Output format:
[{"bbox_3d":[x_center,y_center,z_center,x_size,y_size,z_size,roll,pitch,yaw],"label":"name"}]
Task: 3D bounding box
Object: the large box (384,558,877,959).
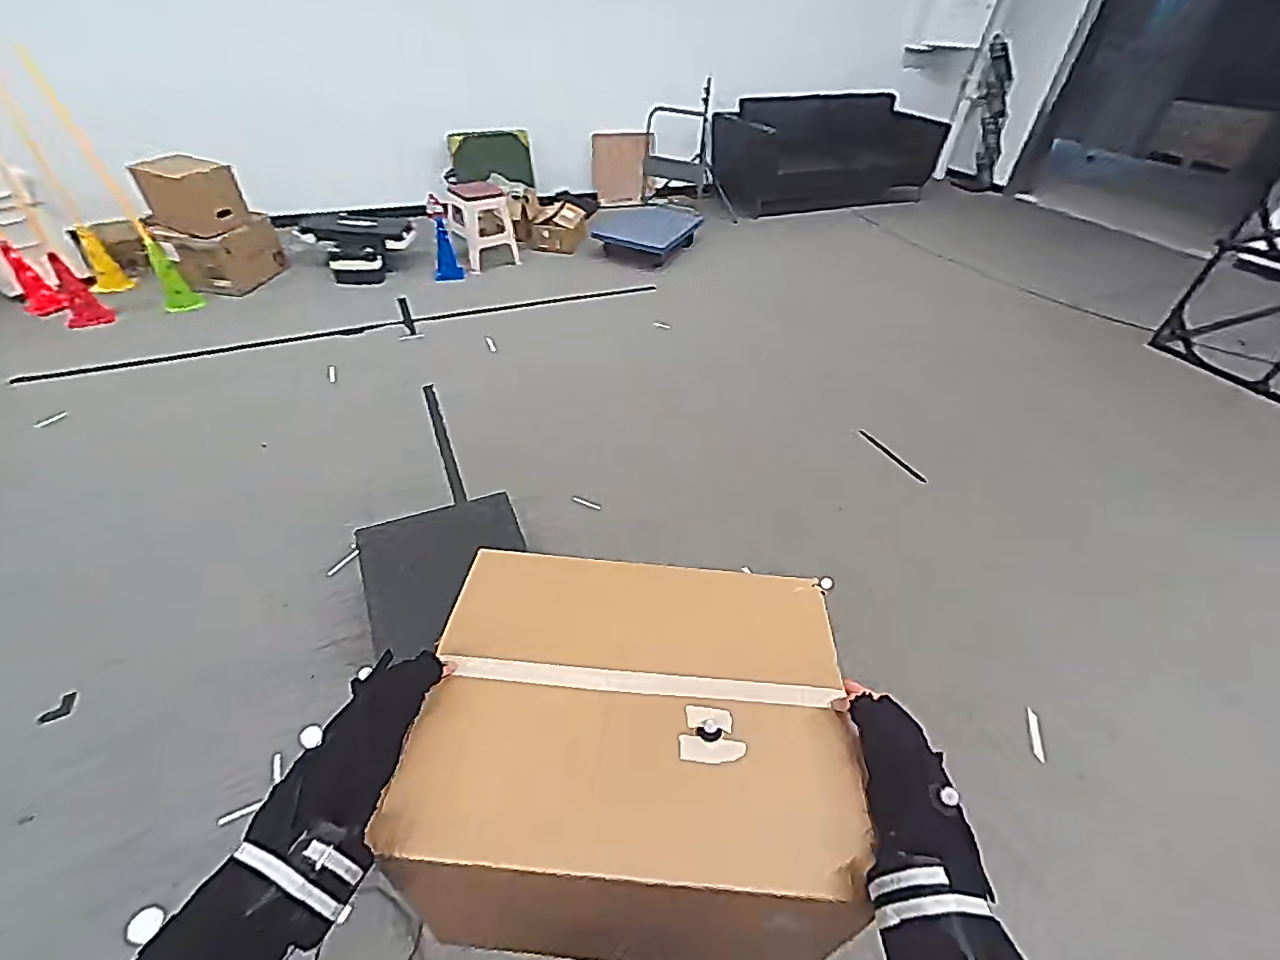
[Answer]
[{"bbox_3d":[-0.011,0.319,0.634,0.408,0.320,0.320,5,40,1],"label":"large box"}]
